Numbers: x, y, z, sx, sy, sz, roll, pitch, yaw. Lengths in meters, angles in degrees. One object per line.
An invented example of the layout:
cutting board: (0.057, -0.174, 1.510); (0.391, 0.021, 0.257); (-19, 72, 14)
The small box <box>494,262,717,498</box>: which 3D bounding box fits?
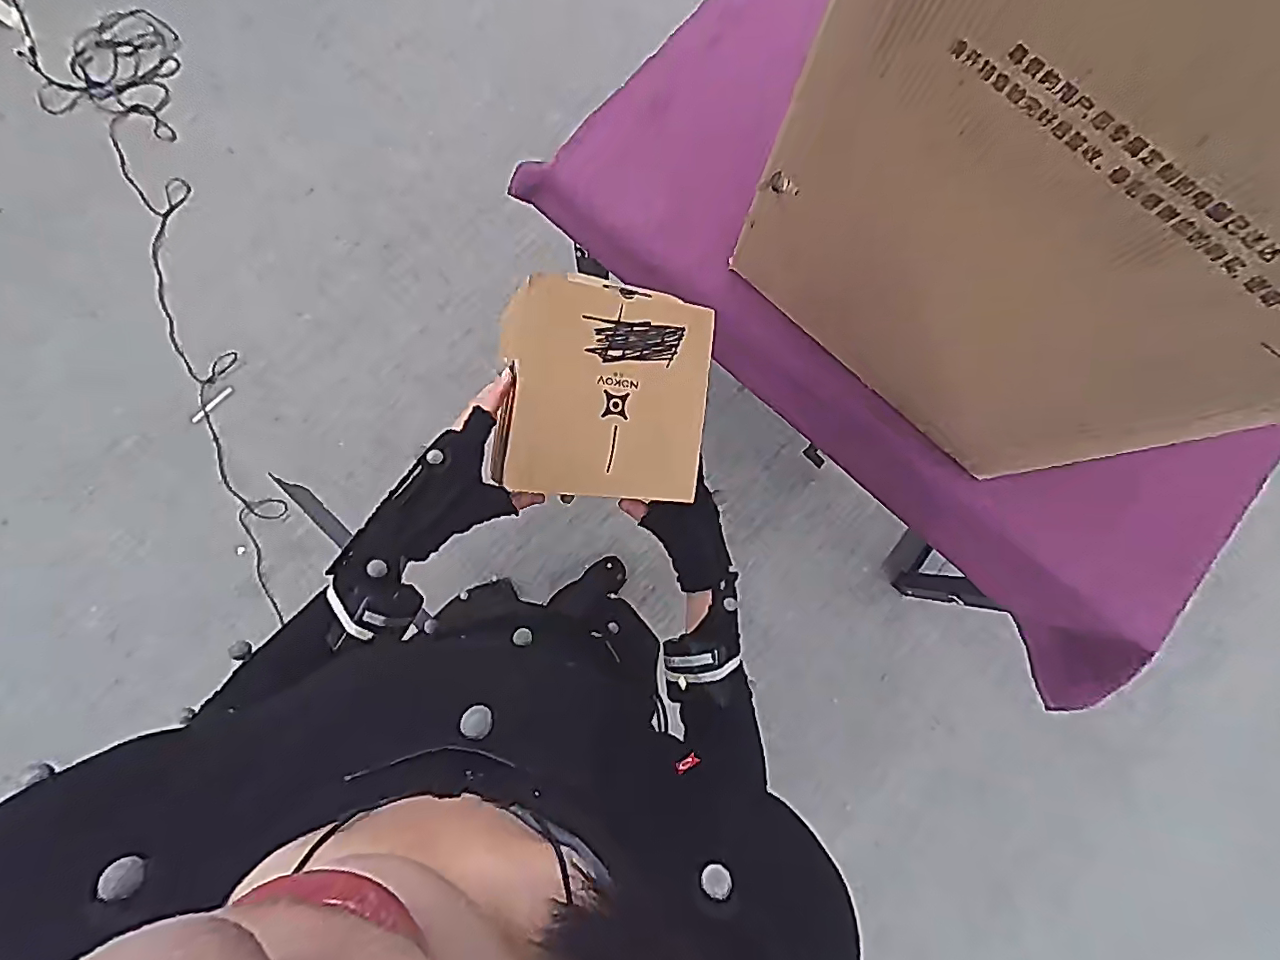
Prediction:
small box: (-0.044, -0.081, 0.520); (0.168, 0.176, 0.179); (4, 92, -21)
